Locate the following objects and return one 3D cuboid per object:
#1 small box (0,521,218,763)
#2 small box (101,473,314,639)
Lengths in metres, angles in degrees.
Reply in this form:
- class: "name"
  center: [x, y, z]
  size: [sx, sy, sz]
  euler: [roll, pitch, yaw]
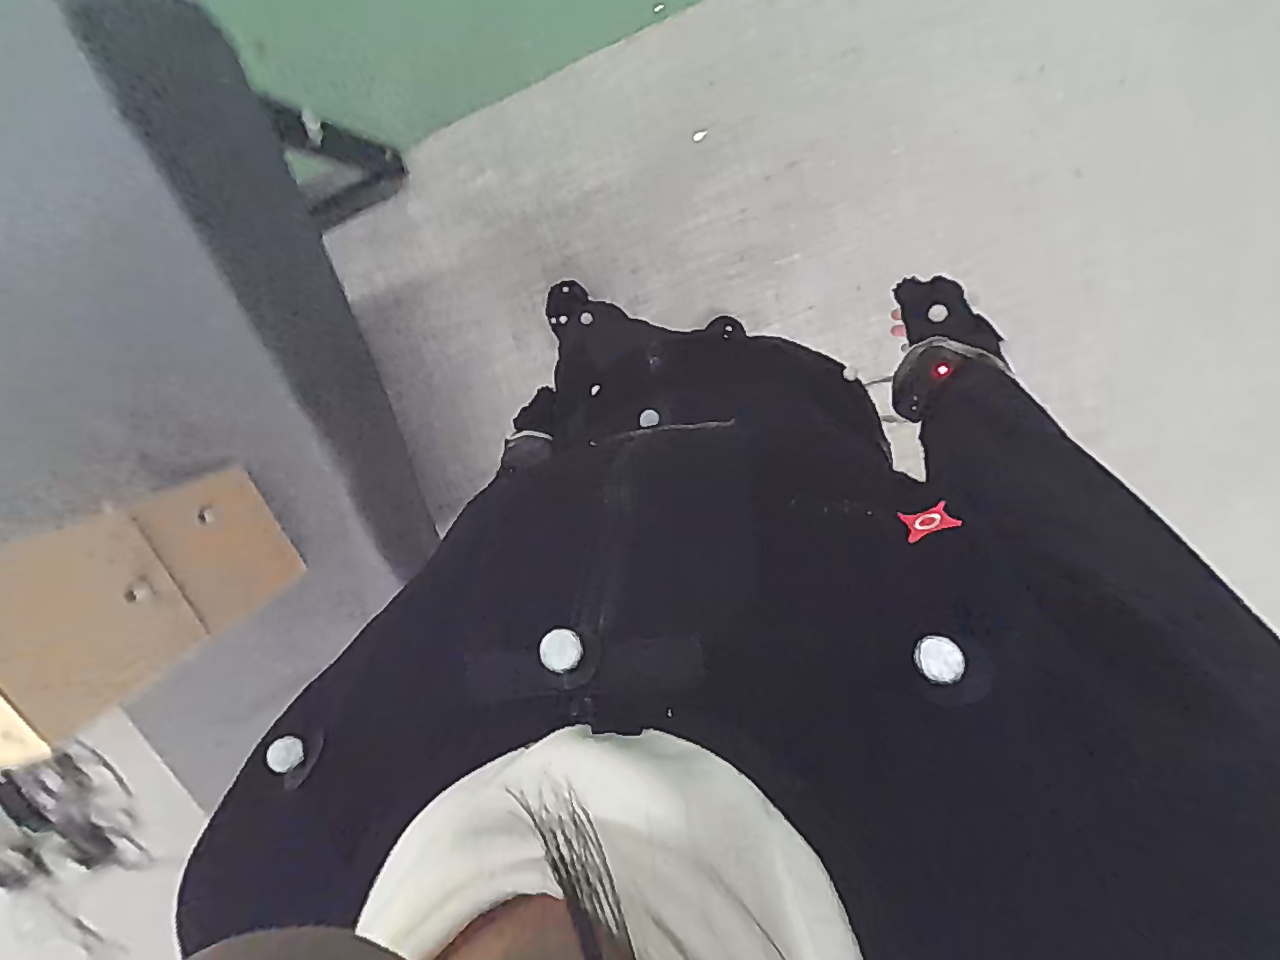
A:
- class: "small box"
  center: [-0.604, 0.157, 0.556]
  size: [0.168, 0.176, 0.179]
  euler: [-17, 106, 14]
- class: "small box"
  center: [-0.586, 0.105, 0.711]
  size: [0.168, 0.176, 0.179]
  euler: [-19, 108, 14]
